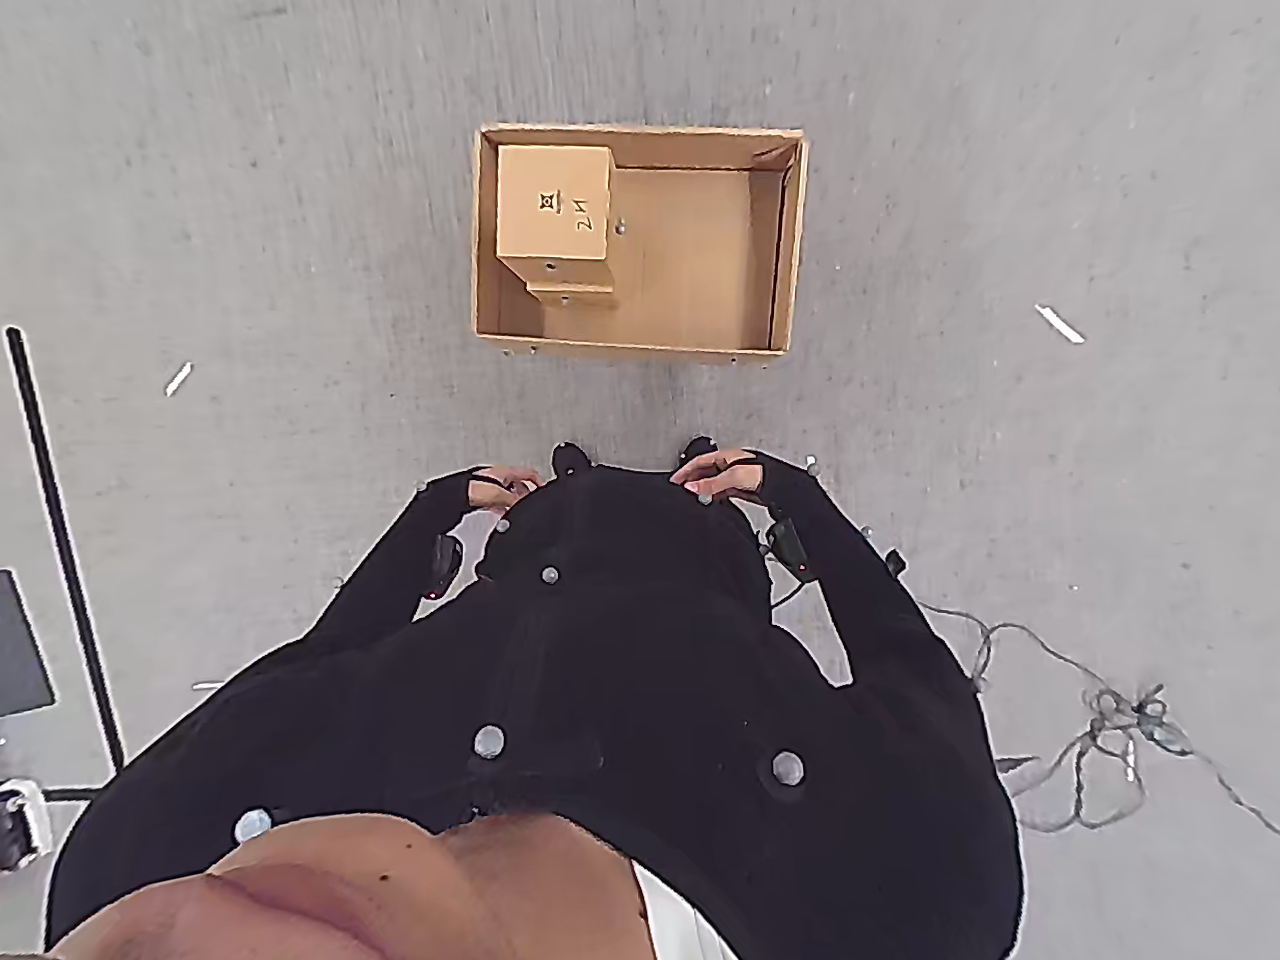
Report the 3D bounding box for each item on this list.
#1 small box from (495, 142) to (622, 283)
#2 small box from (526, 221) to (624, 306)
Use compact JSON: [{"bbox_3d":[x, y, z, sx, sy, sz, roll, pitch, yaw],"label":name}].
[{"bbox_3d":[-0.128,-0.433,0.901,0.179,0.176,0.168,4,97,3],"label":"small box"},{"bbox_3d":[-0.121,-0.446,1.065,0.168,0.176,0.179,2,97,3],"label":"small box"}]
